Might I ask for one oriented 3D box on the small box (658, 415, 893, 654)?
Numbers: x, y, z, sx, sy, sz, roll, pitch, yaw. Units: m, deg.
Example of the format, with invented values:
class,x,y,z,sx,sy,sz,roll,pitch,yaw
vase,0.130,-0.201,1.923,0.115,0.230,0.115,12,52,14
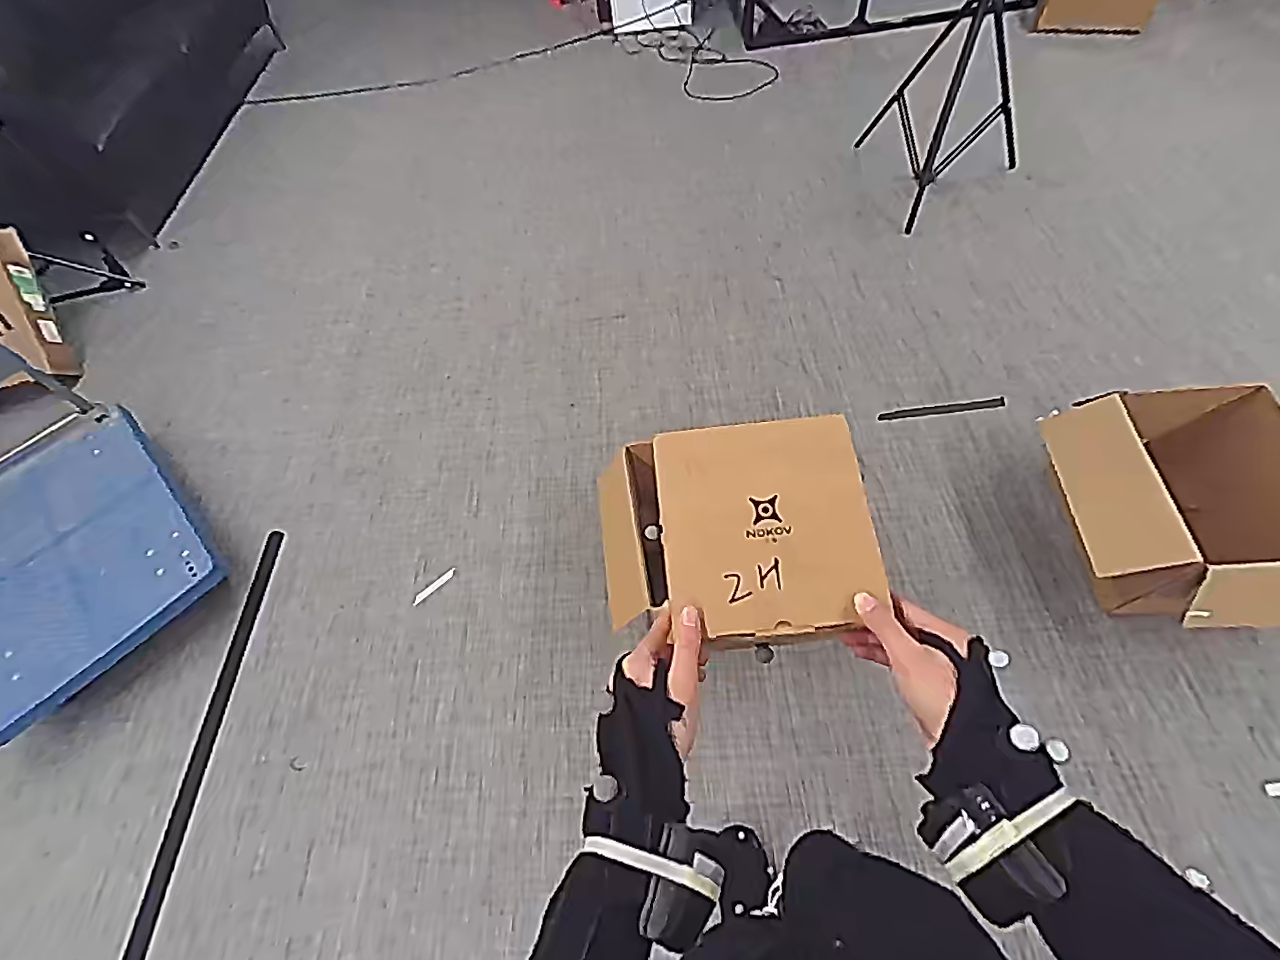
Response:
class,x,y,z,sx,sy,sz,roll,pitch,yaw
small box,0.106,0.061,0.507,0.168,0.176,0.179,-6,69,2
